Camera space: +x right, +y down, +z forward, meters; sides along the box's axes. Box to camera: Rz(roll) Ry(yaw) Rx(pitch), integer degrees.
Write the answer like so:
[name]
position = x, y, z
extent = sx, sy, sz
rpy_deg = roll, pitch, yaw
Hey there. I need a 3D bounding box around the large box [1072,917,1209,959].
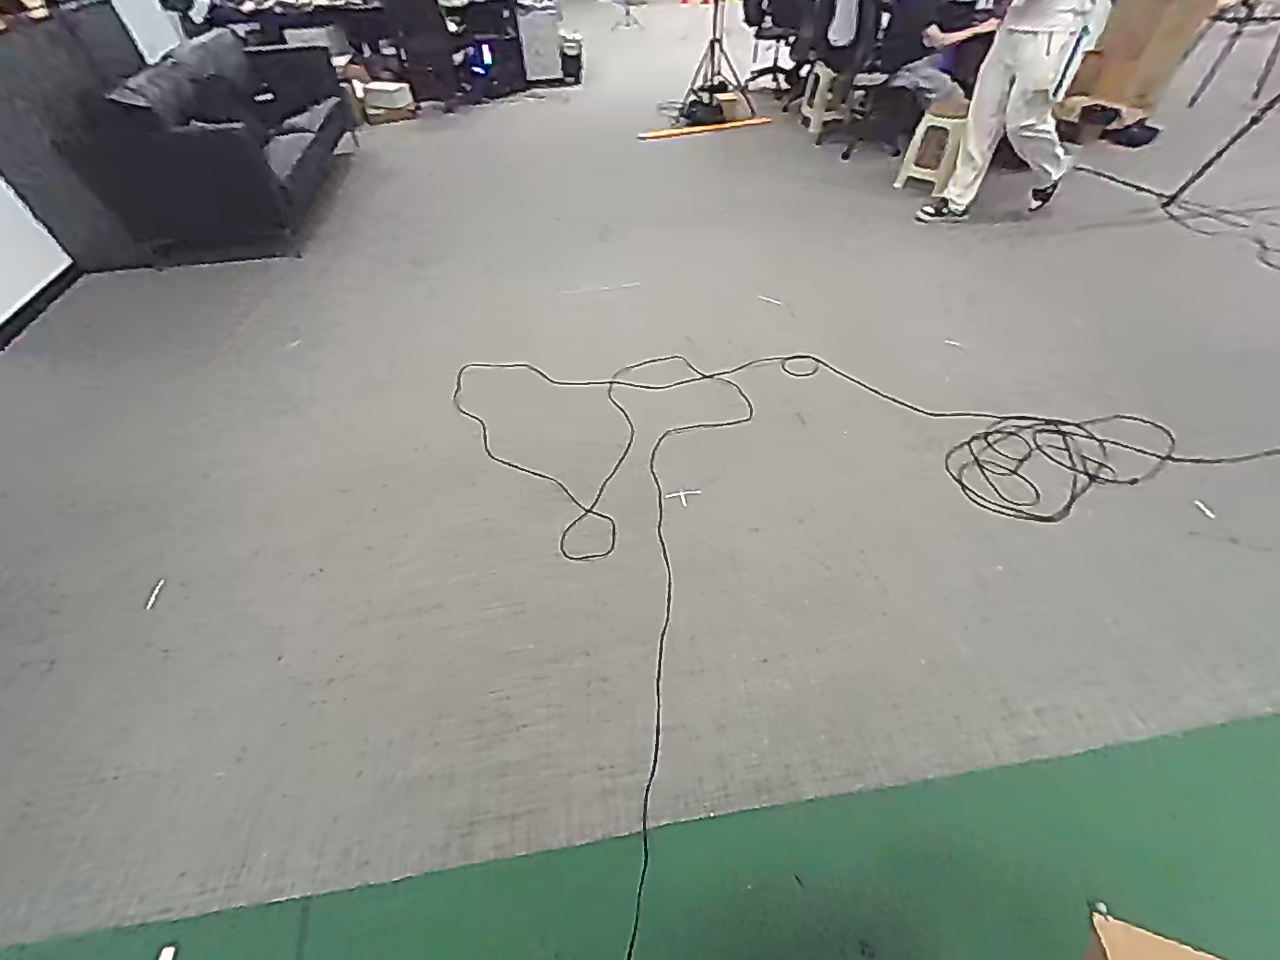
[large box]
position = 0.636, 0.772, 0.509
extent = 0.320, 0.320, 0.408
rpy_deg = 10, 8, 25
